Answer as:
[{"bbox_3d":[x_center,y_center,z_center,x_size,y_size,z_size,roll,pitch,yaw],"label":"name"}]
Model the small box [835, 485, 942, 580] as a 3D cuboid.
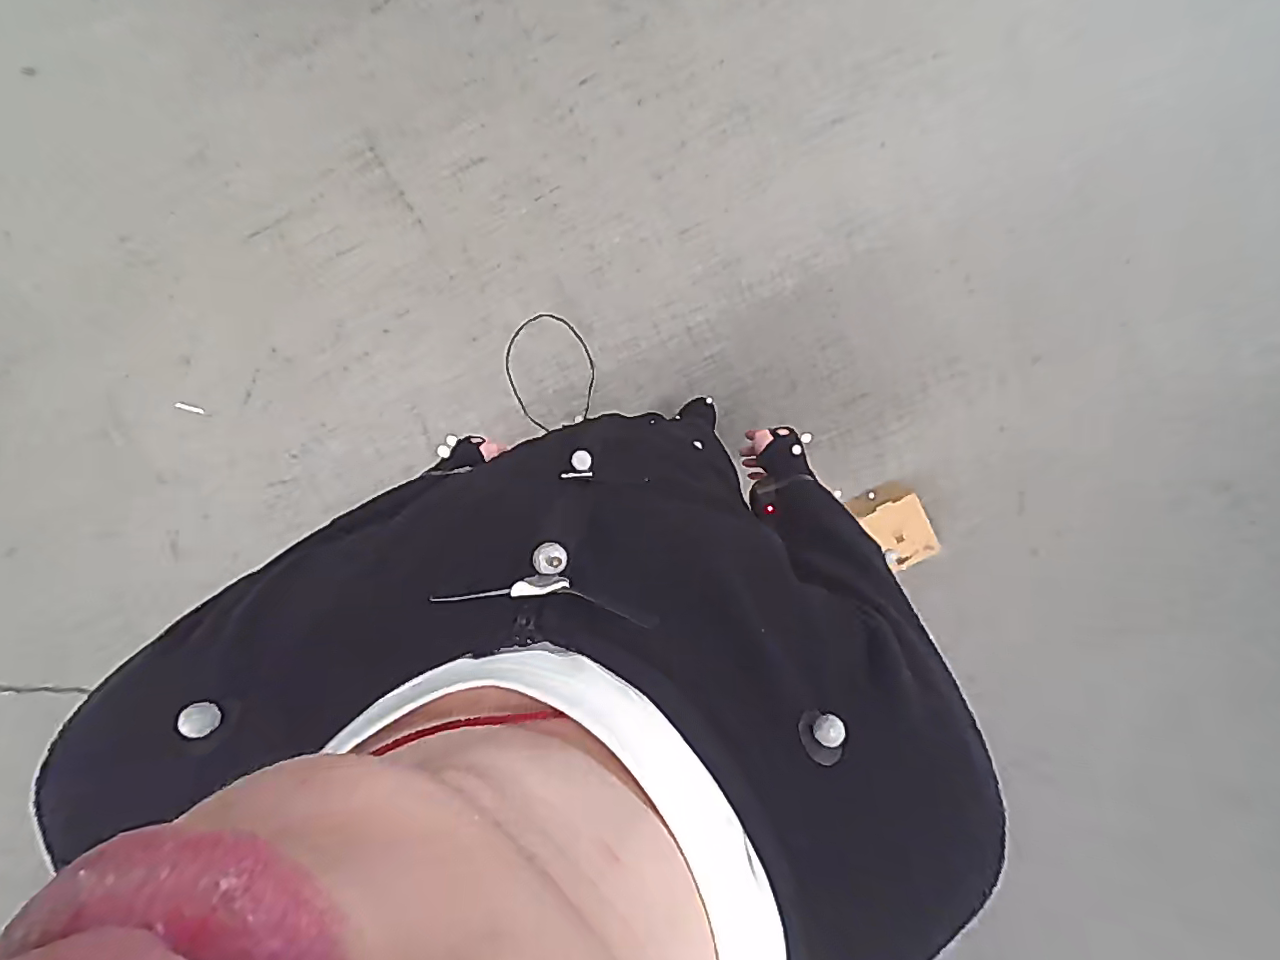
[{"bbox_3d":[0.661,0.134,1.465,0.168,0.176,0.179,32,100,-4],"label":"small box"}]
